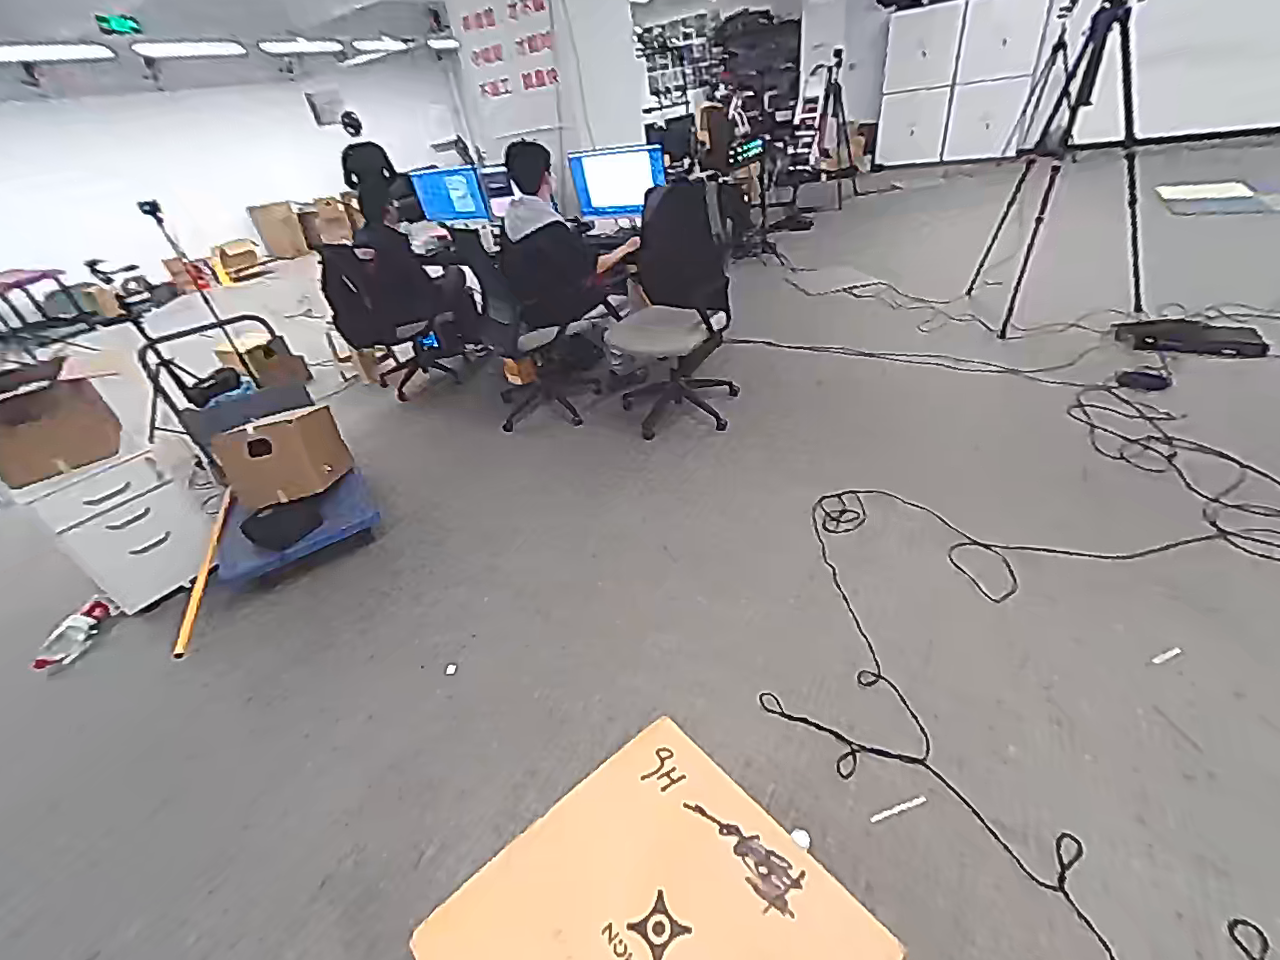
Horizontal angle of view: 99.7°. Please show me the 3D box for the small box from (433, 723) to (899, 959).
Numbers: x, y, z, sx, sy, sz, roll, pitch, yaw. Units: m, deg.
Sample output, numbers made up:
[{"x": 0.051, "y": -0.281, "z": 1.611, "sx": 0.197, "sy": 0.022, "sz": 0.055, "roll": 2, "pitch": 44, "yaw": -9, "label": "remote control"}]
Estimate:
[{"x": 0.018, "y": 0.292, "z": 0.307, "sx": 0.179, "sy": 0.176, "sz": 0.168, "roll": -30, "pitch": 38, "yaw": -29, "label": "small box"}]
